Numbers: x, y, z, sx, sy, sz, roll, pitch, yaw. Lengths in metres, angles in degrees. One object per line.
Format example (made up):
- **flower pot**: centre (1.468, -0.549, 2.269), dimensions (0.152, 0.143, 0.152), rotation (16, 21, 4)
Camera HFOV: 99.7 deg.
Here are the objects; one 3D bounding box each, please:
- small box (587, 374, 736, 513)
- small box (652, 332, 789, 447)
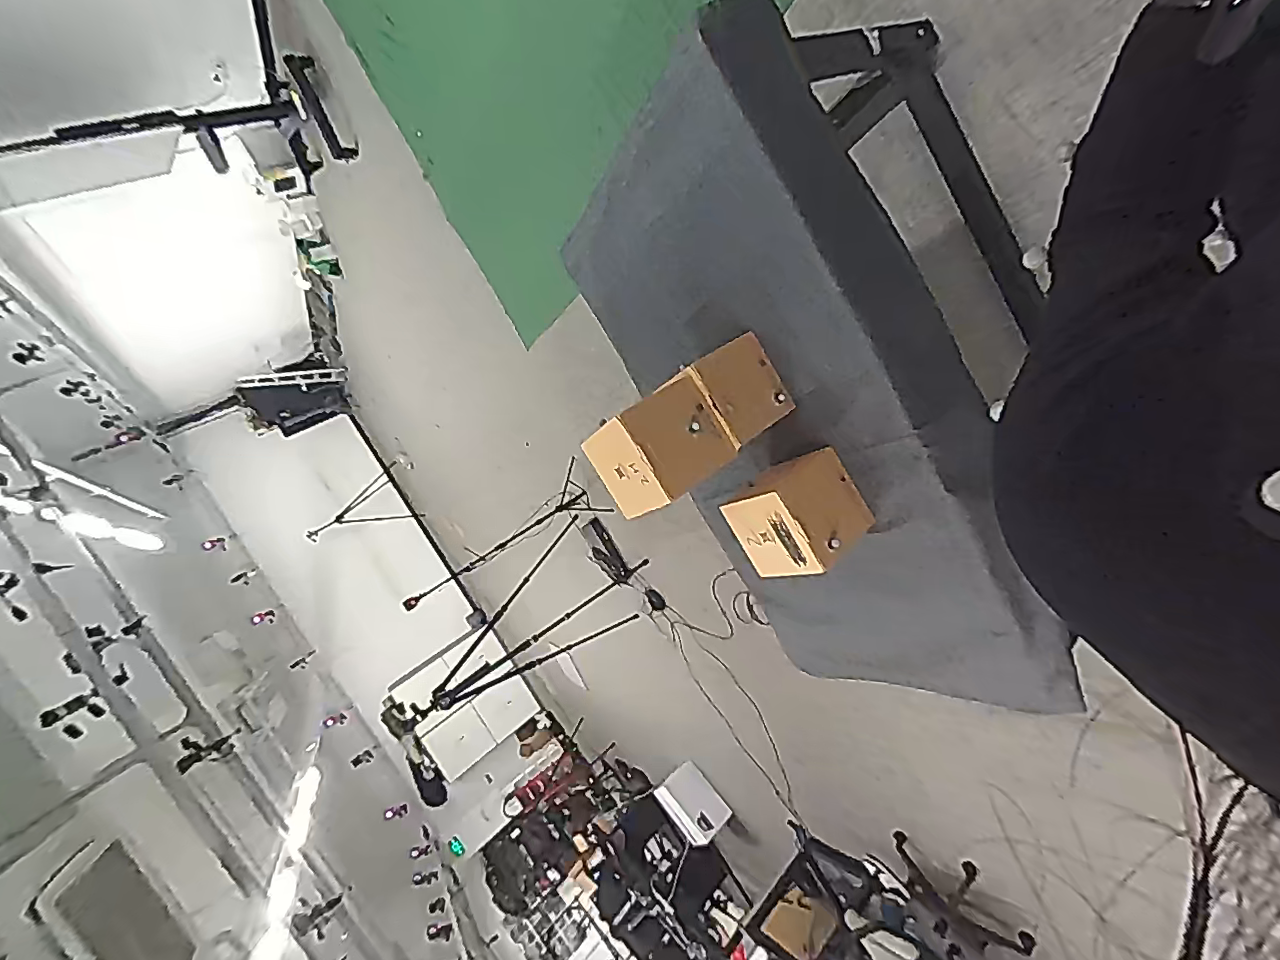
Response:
- **small box**: centre (0.038, -0.063, 0.967), dimensions (0.168, 0.176, 0.179), rotation (58, 151, -3)
- **small box**: centre (0.158, -0.156, 1.031), dimensions (0.168, 0.176, 0.179), rotation (59, 152, -4)
